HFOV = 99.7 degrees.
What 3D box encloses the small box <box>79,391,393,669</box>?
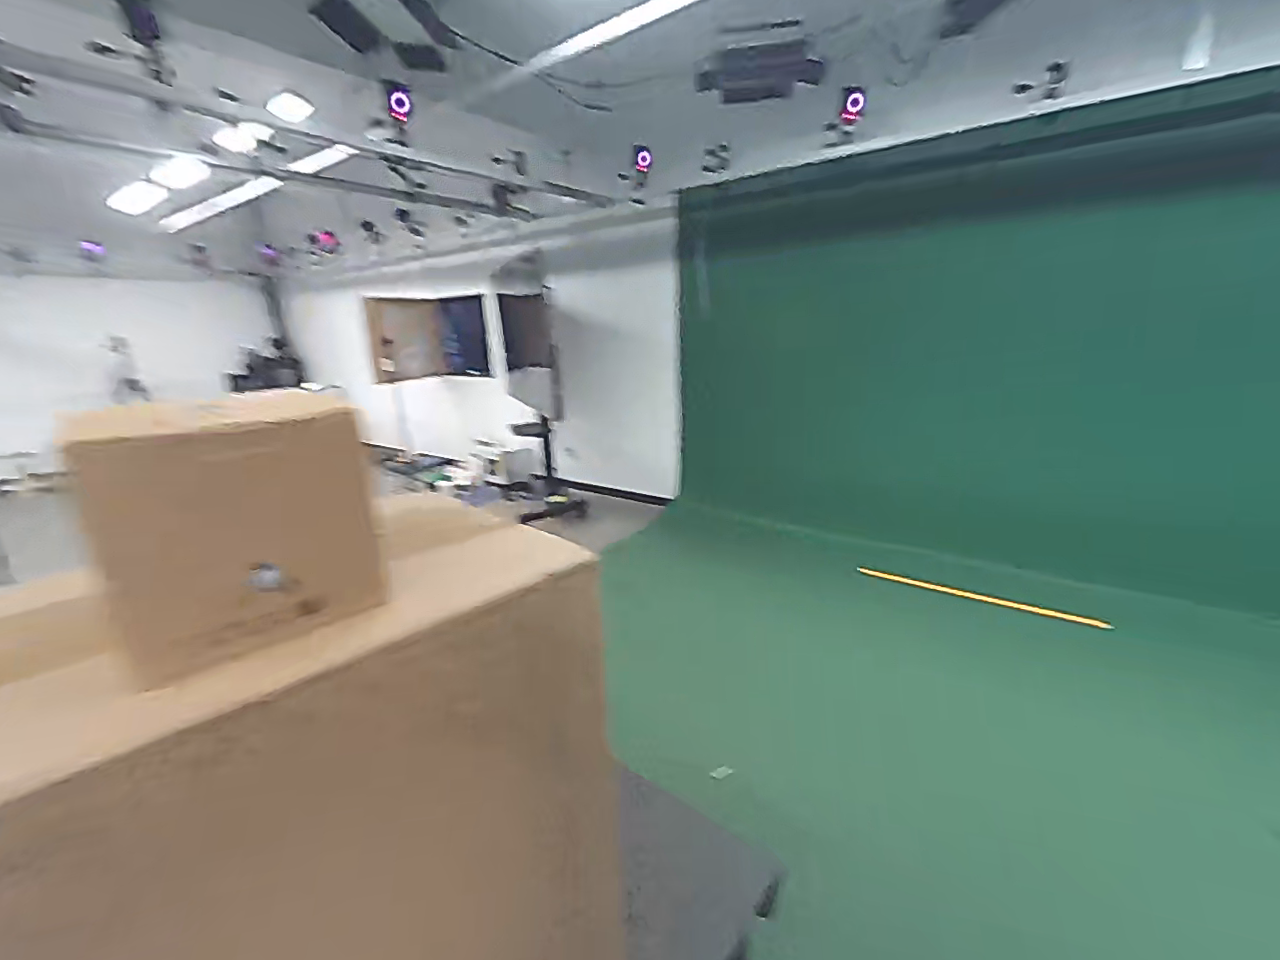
[{"bbox_3d":[-0.325,0.023,0.445,0.179,0.176,0.168,16,23,42],"label":"small box"}]
